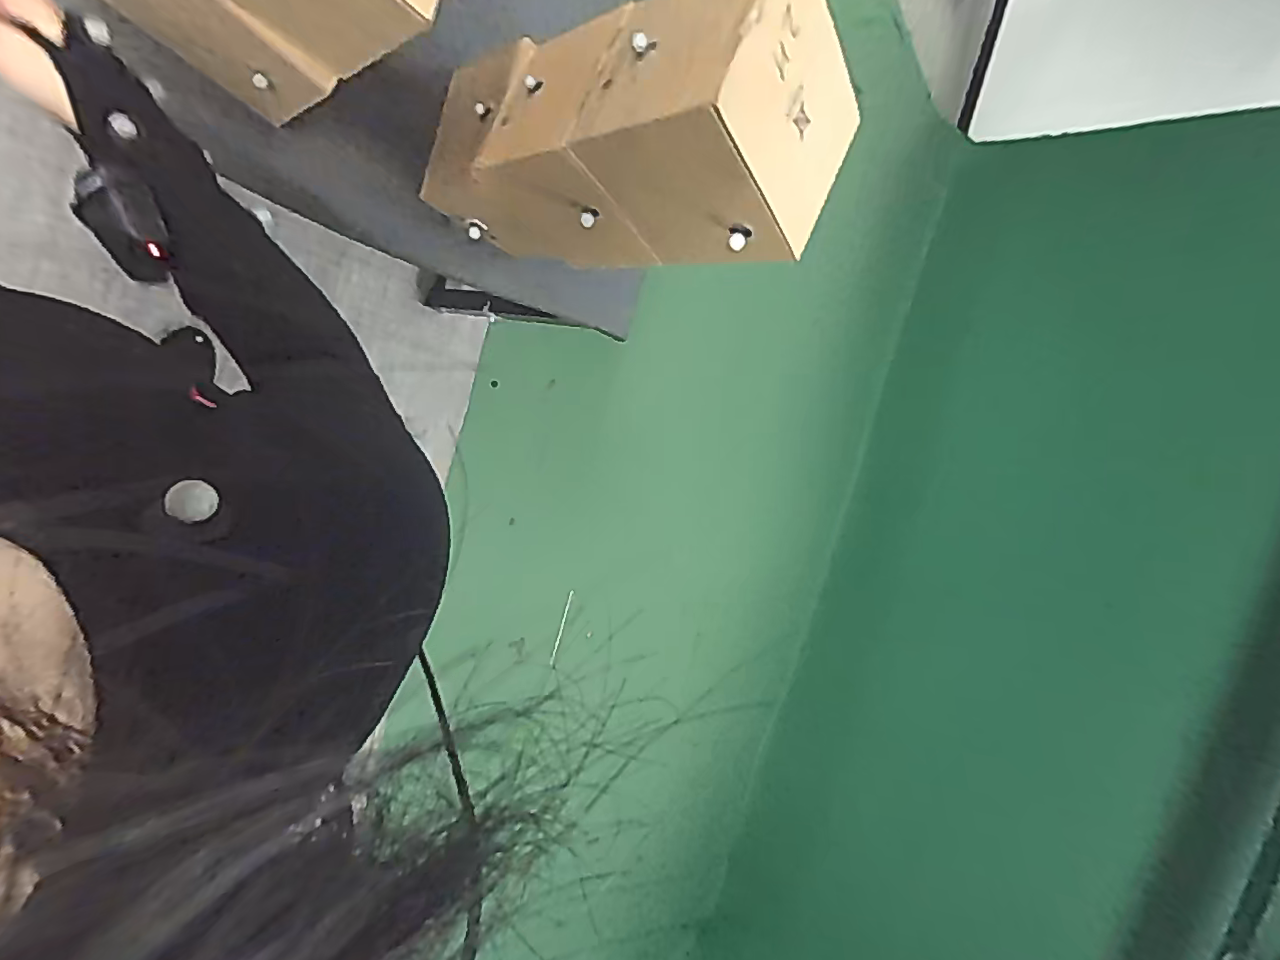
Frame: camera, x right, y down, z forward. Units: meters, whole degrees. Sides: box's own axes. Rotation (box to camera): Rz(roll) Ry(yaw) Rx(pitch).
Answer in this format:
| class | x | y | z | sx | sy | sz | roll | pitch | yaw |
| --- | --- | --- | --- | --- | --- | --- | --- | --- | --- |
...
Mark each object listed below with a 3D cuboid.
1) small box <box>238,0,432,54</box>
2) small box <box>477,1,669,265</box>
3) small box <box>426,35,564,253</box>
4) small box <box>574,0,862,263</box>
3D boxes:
| class | x | y | z | sx | sy | sz | roll | pitch | yaw |
| --- | --- | --- | --- | --- | --- | --- | --- | --- | --- |
| small box | -0.240 | -0.436 | 0.366 | 0.179 | 0.176 | 0.168 | 13 | 95 | -49 |
| small box | -0.046 | -0.367 | 0.610 | 0.179 | 0.176 | 0.168 | 30 | 82 | -48 |
| small box | -0.157 | -0.421 | 0.716 | 0.168 | 0.176 | 0.179 | 14 | 94 | -48 |
| small box | 0.074 | -0.327 | 0.505 | 0.179 | 0.176 | 0.168 | 32 | 80 | -46 |
